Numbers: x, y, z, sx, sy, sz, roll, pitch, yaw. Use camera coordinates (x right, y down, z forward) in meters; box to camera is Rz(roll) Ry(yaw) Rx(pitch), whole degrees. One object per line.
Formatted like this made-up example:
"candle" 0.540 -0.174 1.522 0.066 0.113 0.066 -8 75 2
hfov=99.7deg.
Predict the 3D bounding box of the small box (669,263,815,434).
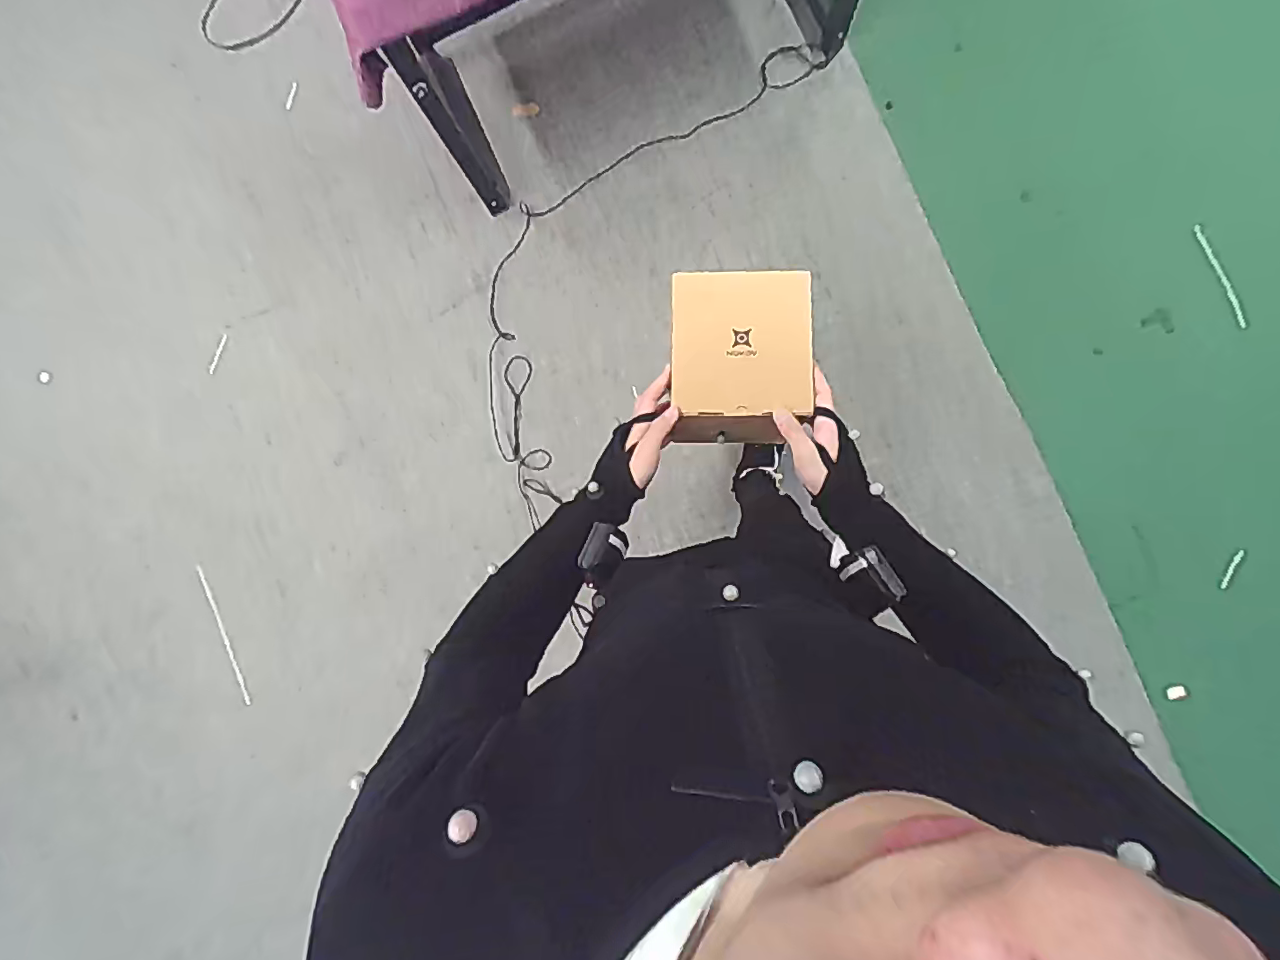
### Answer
"small box" 0.122 -0.161 0.707 0.168 0.176 0.179 0 85 2
